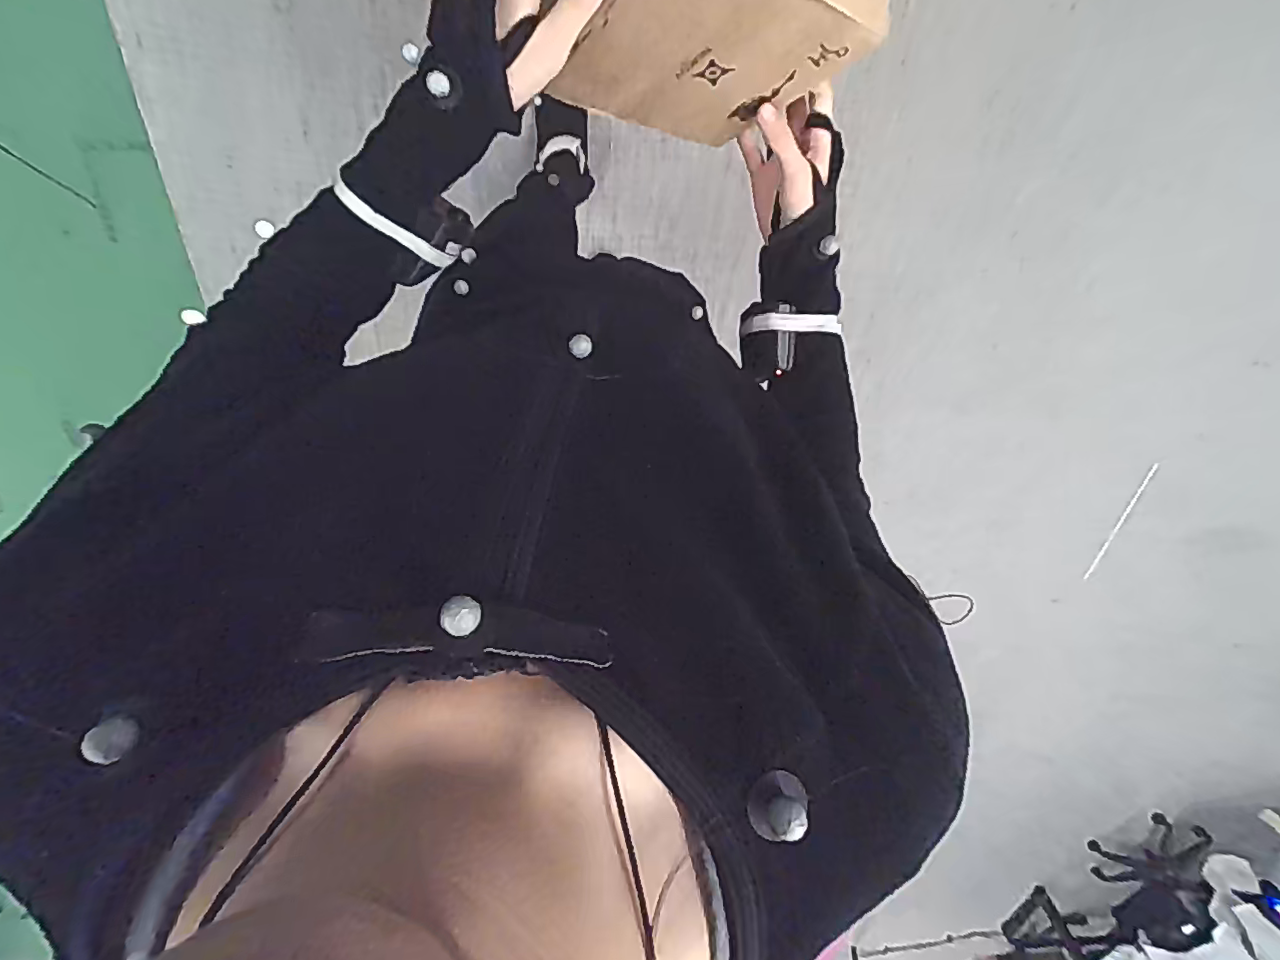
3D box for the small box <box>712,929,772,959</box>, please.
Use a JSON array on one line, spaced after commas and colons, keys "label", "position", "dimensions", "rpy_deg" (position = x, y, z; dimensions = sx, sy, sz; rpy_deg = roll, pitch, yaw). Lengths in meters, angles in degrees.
[{"label": "small box", "position": [0.312, 1.493, 1.640], "dimensions": [0.168, 0.176, 0.179], "rpy_deg": [-3, 122, -1]}]
